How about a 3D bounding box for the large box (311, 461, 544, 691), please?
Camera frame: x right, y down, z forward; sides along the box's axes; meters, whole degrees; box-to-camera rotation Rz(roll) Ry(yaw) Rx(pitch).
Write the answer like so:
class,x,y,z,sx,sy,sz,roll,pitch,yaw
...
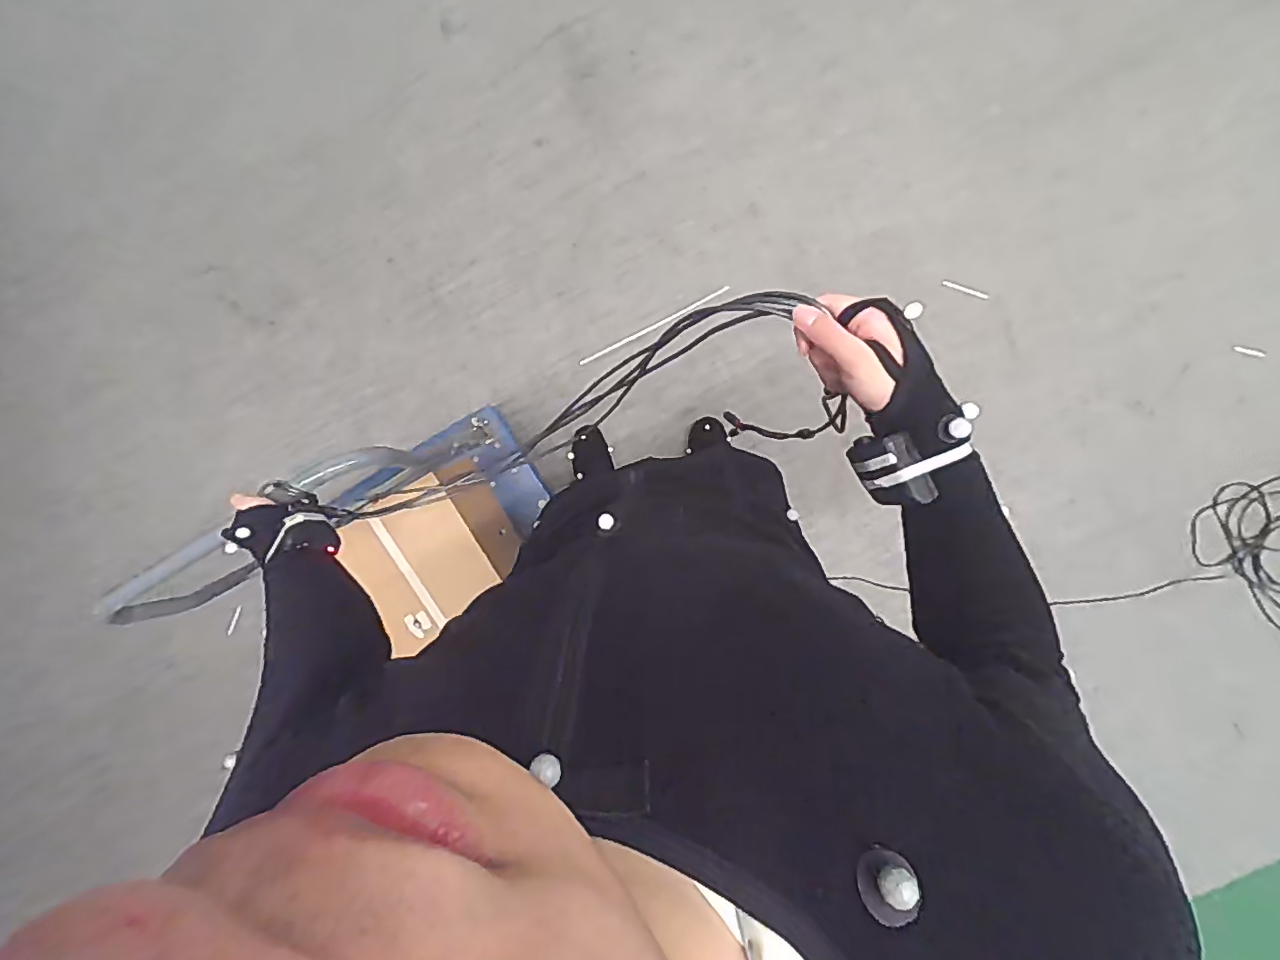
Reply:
class,x,y,z,sx,sy,sz,roll,pitch,yaw
large box,-0.478,0.206,1.313,0.320,0.320,0.408,-30,98,1
